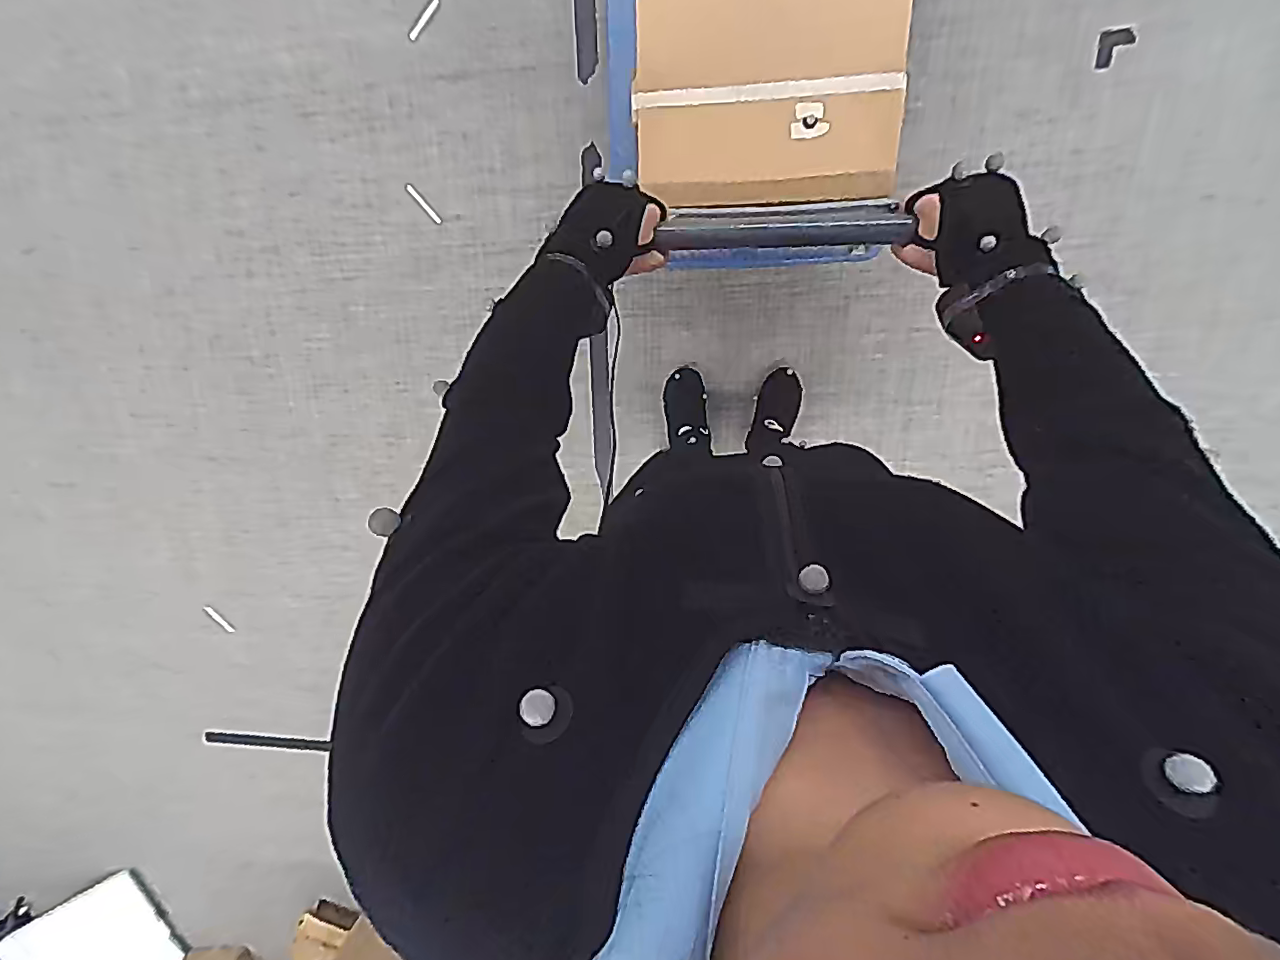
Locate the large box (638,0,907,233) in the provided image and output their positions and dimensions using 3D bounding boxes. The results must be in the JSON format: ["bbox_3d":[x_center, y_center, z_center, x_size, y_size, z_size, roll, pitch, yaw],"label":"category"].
[{"bbox_3d":[0.215,-0.648,0.987,0.408,0.320,0.320,1,108,7],"label":"large box"}]
